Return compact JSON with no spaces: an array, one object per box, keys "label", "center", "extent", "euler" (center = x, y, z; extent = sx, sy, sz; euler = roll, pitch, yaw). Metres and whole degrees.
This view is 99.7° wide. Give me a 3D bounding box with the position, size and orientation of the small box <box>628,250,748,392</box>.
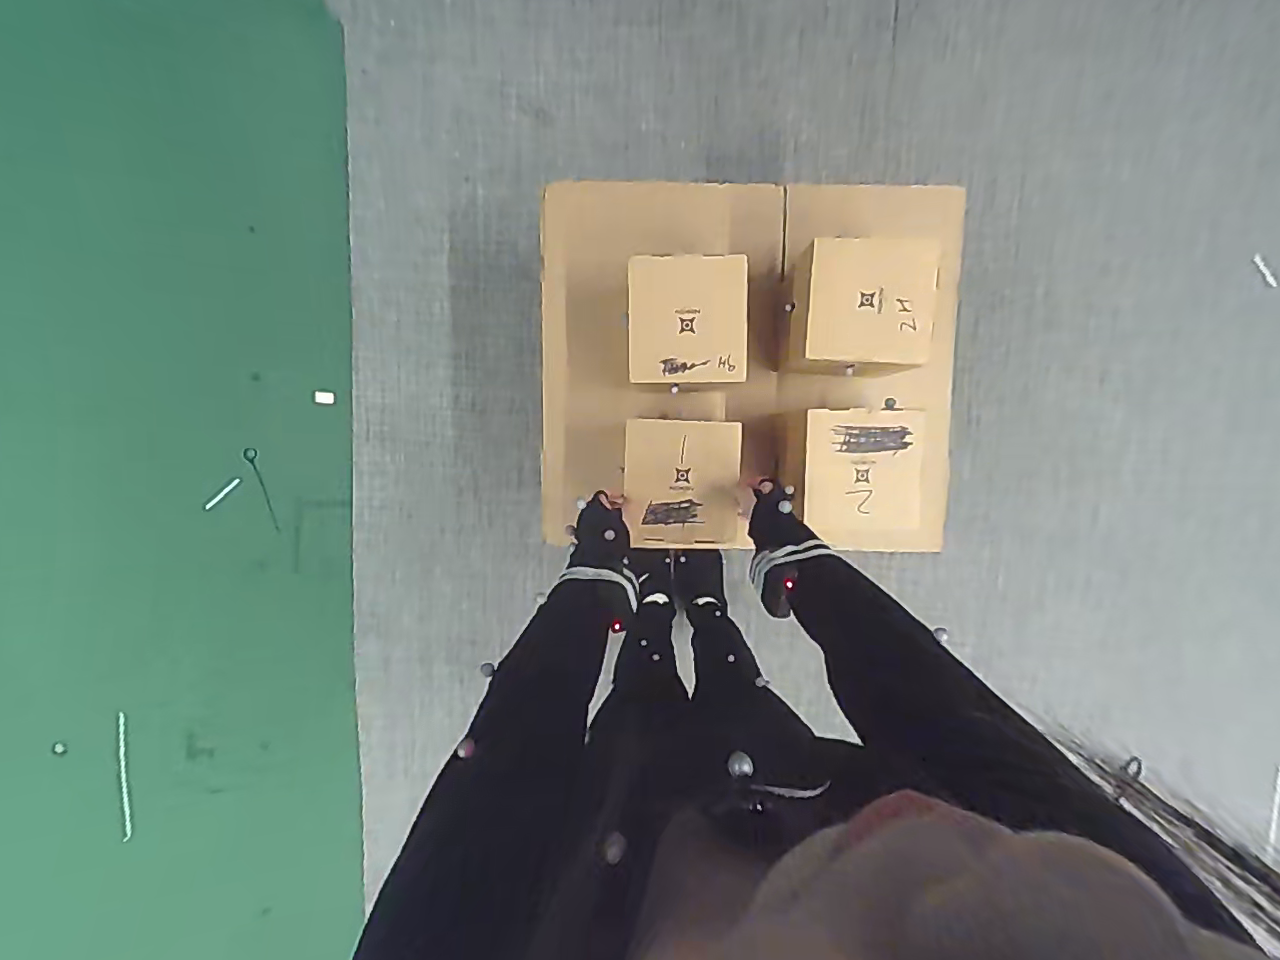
[{"label":"small box","center":[0.067,-0.231,0.821],"extent":[0.168,0.176,0.179],"euler":[0,94,2]}]
